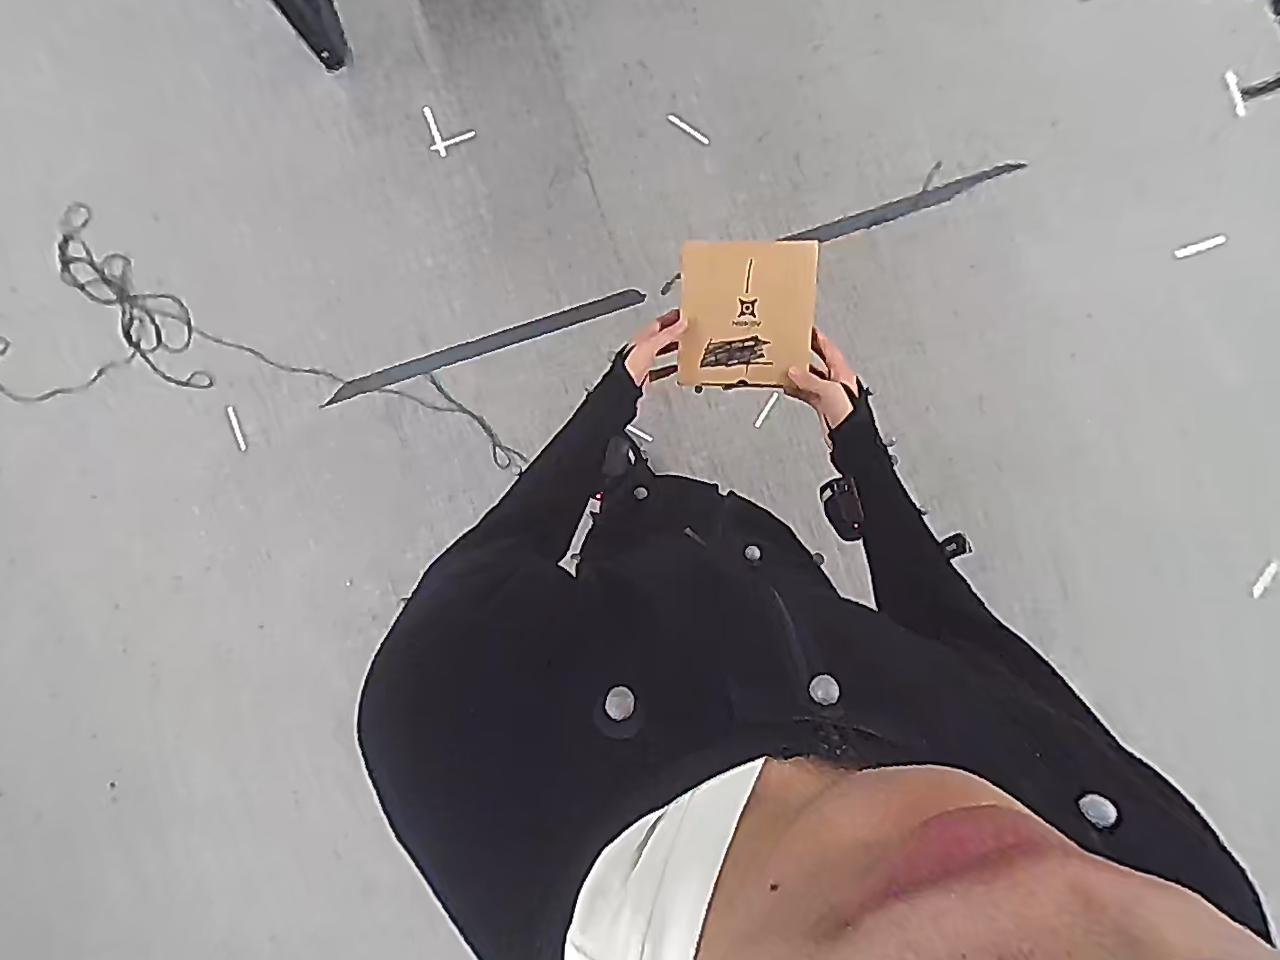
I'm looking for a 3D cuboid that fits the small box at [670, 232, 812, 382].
[{"bbox_3d":[0.128,-0.225,0.739,0.168,0.176,0.179,1,100,4],"label":"small box"}]
